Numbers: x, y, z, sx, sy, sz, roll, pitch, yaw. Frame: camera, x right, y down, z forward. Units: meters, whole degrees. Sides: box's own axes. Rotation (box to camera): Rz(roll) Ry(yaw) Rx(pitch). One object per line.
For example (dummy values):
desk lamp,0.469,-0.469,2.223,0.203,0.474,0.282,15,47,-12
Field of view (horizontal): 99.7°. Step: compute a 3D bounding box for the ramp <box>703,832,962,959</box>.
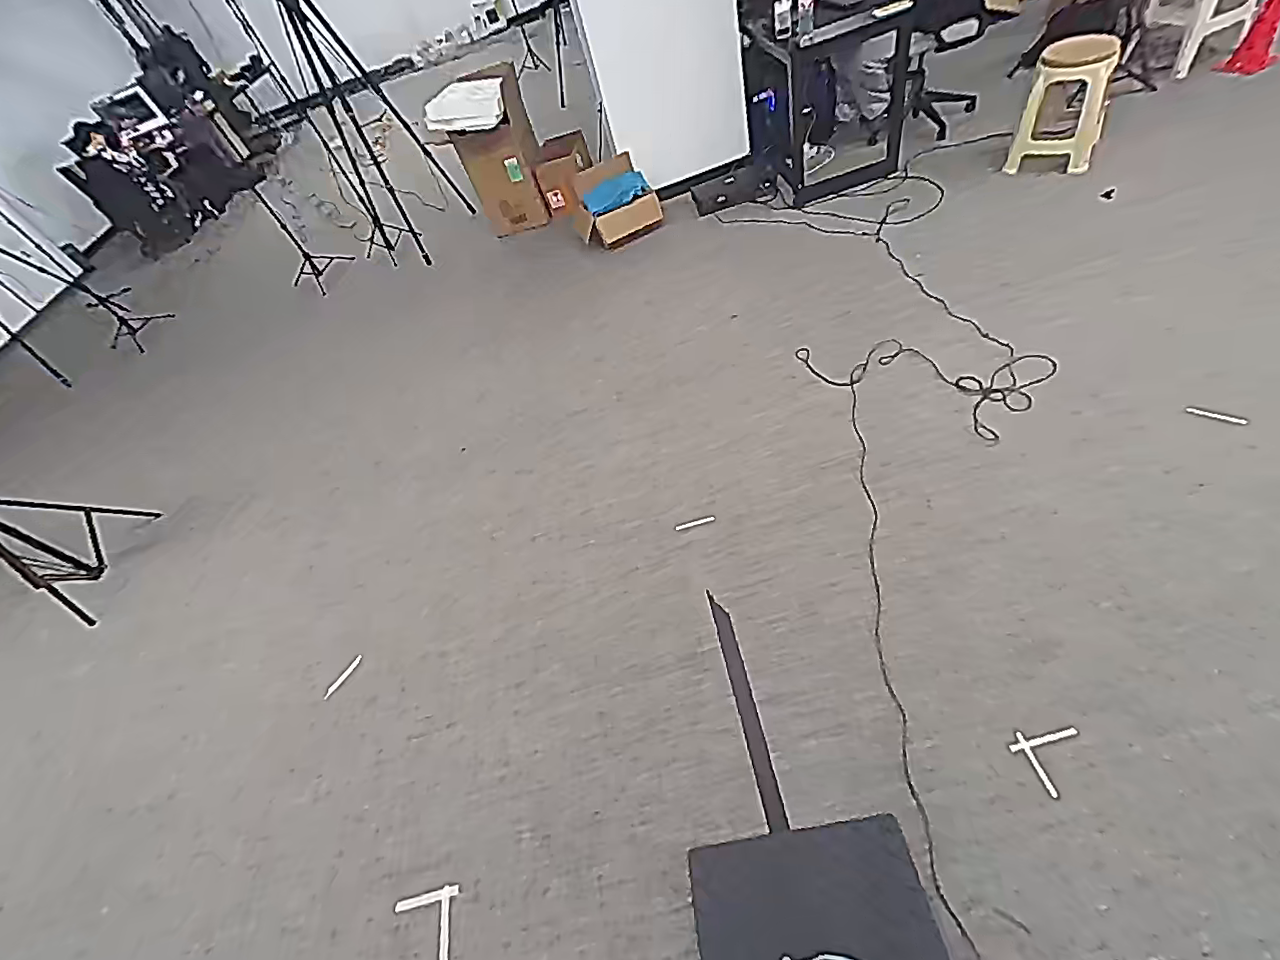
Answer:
ramp,0.417,1.163,0.856,0.509,0.206,0.991,-19,46,6
